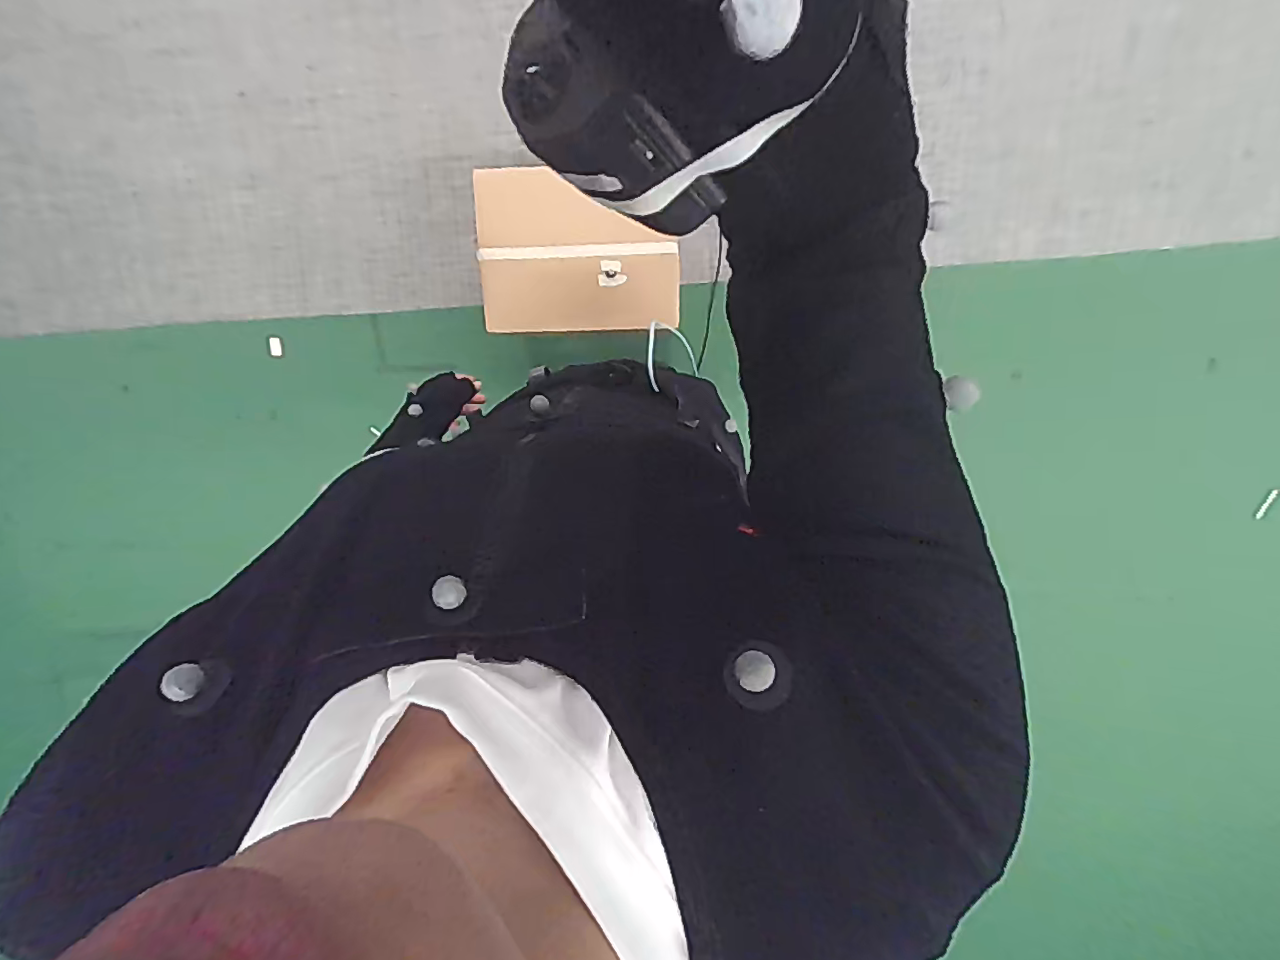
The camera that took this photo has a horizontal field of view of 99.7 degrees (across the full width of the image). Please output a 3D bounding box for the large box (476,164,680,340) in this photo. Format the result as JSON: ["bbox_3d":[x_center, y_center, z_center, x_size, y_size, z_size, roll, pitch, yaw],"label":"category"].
[{"bbox_3d":[-0.123,-0.494,1.238,0.408,0.320,0.320,-2,103,0],"label":"large box"}]
